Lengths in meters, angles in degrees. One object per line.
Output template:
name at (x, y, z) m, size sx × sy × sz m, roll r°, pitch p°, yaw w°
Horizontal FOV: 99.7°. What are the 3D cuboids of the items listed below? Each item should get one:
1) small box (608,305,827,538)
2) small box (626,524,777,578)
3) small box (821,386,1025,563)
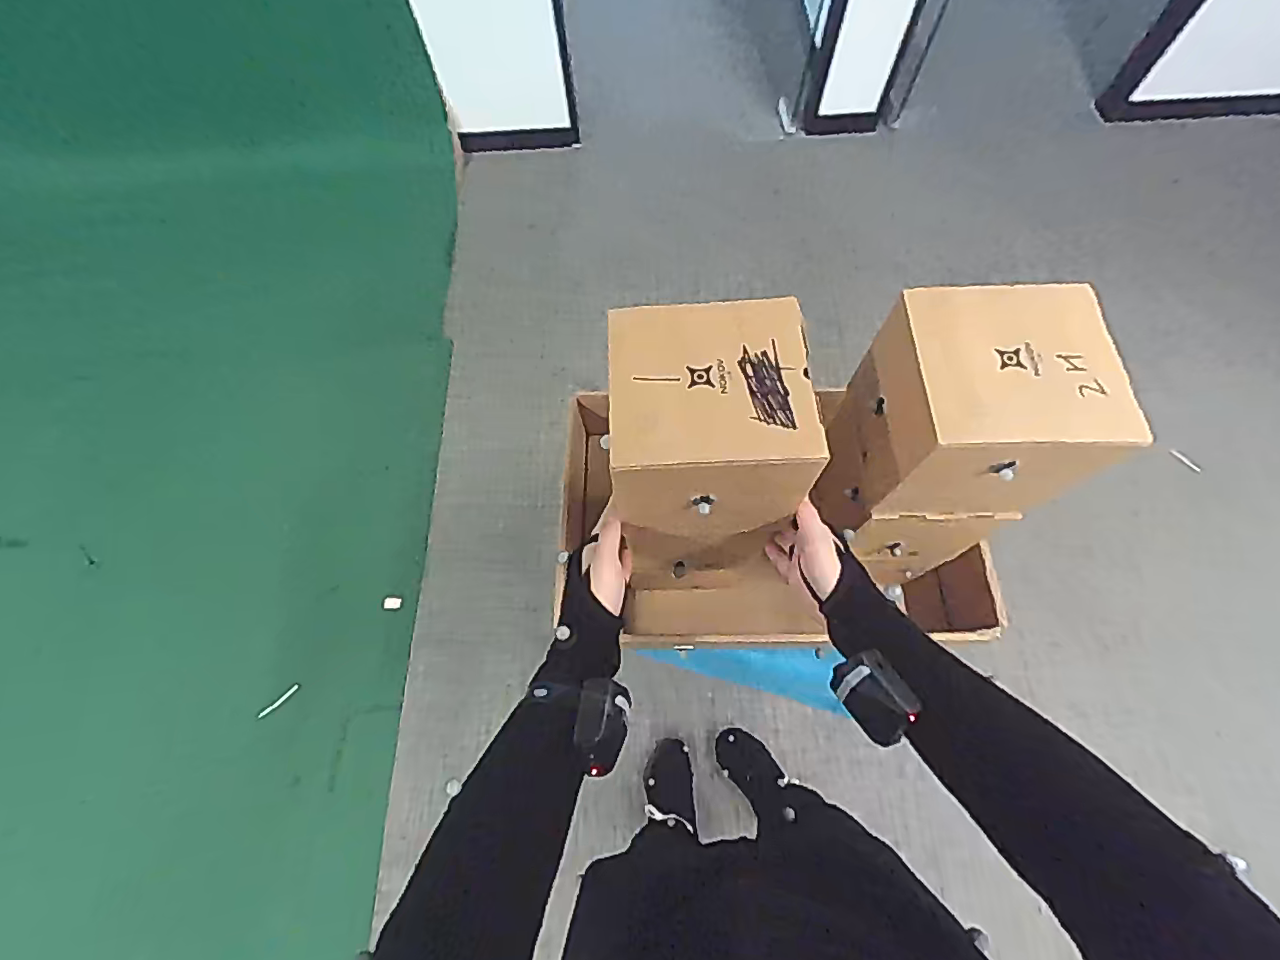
small box at (0.062, -0.048, 0.531) m, size 0.179 × 0.176 × 0.168 m, roll -3°, pitch 64°, yaw 2°
small box at (0.065, 0.015, 0.682) m, size 0.168 × 0.176 × 0.179 m, roll -3°, pitch 65°, yaw 1°
small box at (0.340, -0.002, 0.694) m, size 0.168 × 0.176 × 0.179 m, roll 0°, pitch 67°, yaw 2°
